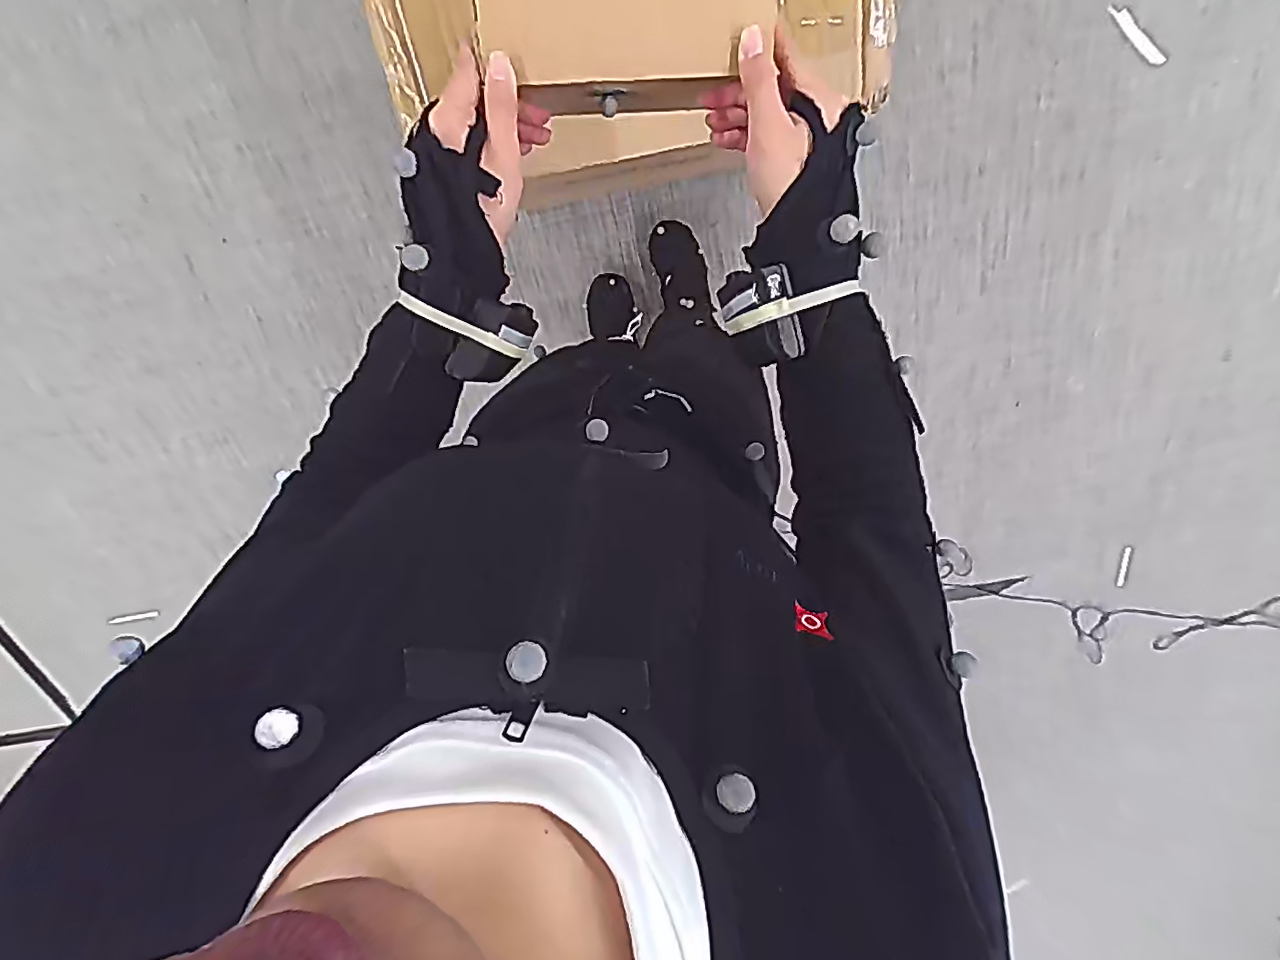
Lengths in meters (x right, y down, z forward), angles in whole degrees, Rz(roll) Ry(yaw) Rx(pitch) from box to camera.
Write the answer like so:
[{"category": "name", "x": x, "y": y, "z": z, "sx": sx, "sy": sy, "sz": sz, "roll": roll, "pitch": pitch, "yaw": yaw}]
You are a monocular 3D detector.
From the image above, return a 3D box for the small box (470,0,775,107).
[{"category": "small box", "x": -0.013, "y": -0.355, "z": 0.354, "sx": 0.179, "sy": 0.176, "sz": 0.168, "roll": -3, "pitch": 119, "yaw": 0}]
